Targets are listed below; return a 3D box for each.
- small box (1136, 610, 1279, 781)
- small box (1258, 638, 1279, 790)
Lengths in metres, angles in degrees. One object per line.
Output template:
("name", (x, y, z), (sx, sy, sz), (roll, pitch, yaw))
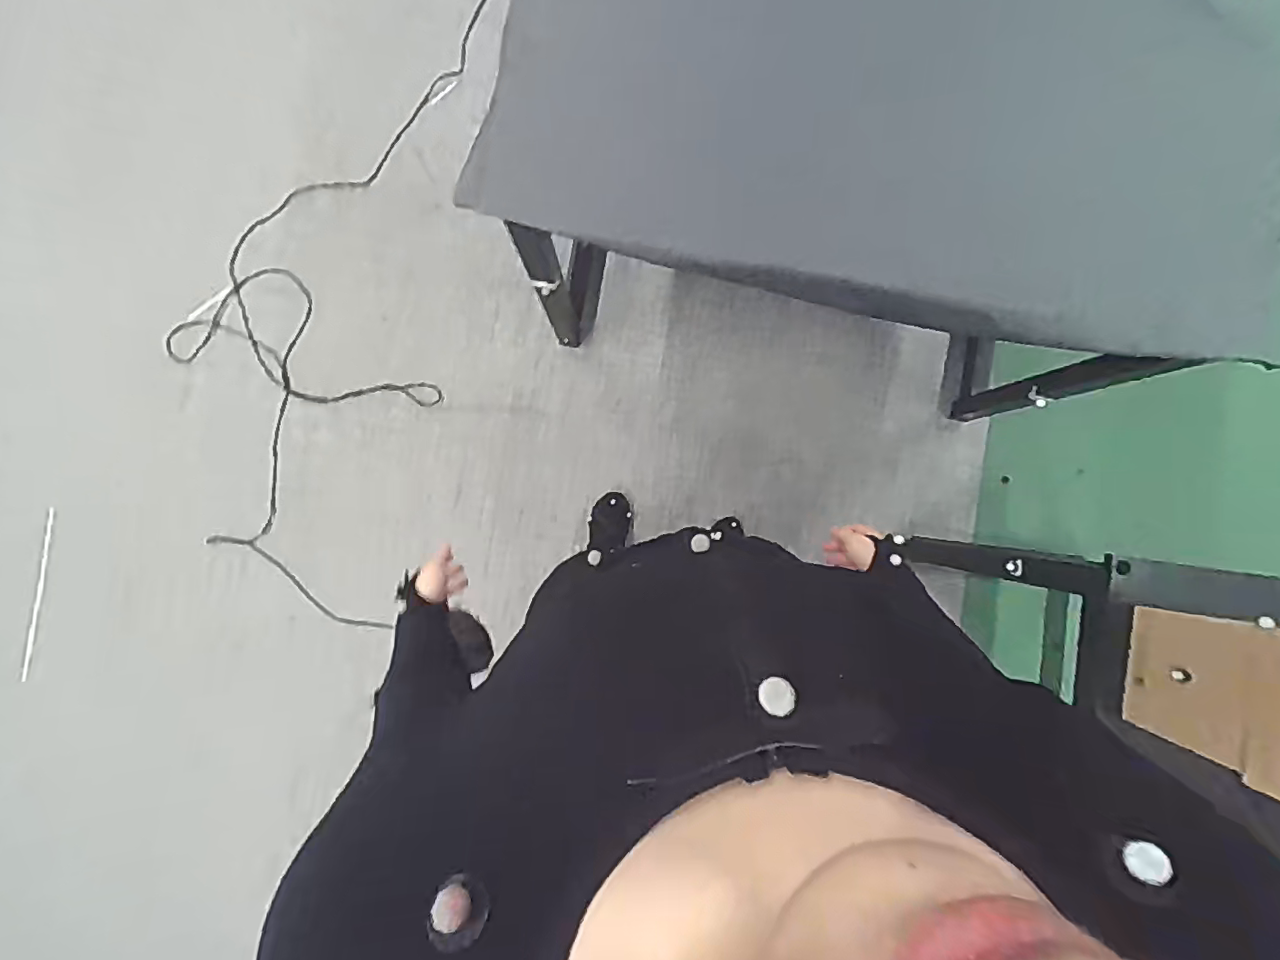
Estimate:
("small box", (0.789, 0.270, 0.683), (0.179, 0.176, 0.168), (9, 89, 0))
("small box", (0.772, 0.268, 0.521), (0.168, 0.176, 0.179), (8, 88, 1))
